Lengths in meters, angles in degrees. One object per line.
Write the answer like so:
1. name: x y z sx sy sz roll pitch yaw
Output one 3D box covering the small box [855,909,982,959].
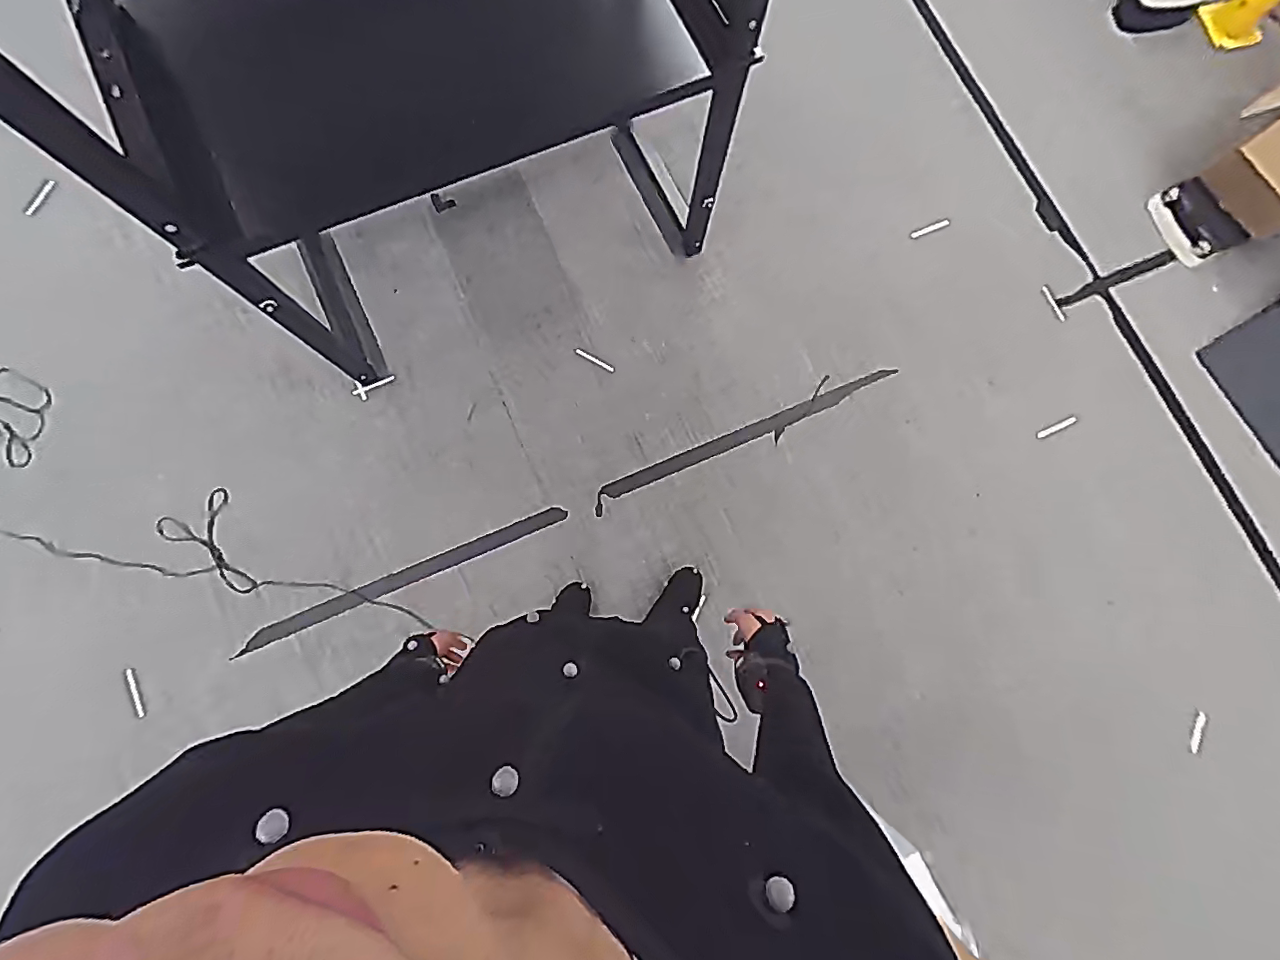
1. small box: 0.498 0.878 0.911 0.168 0.176 0.179 -24 84 -6
